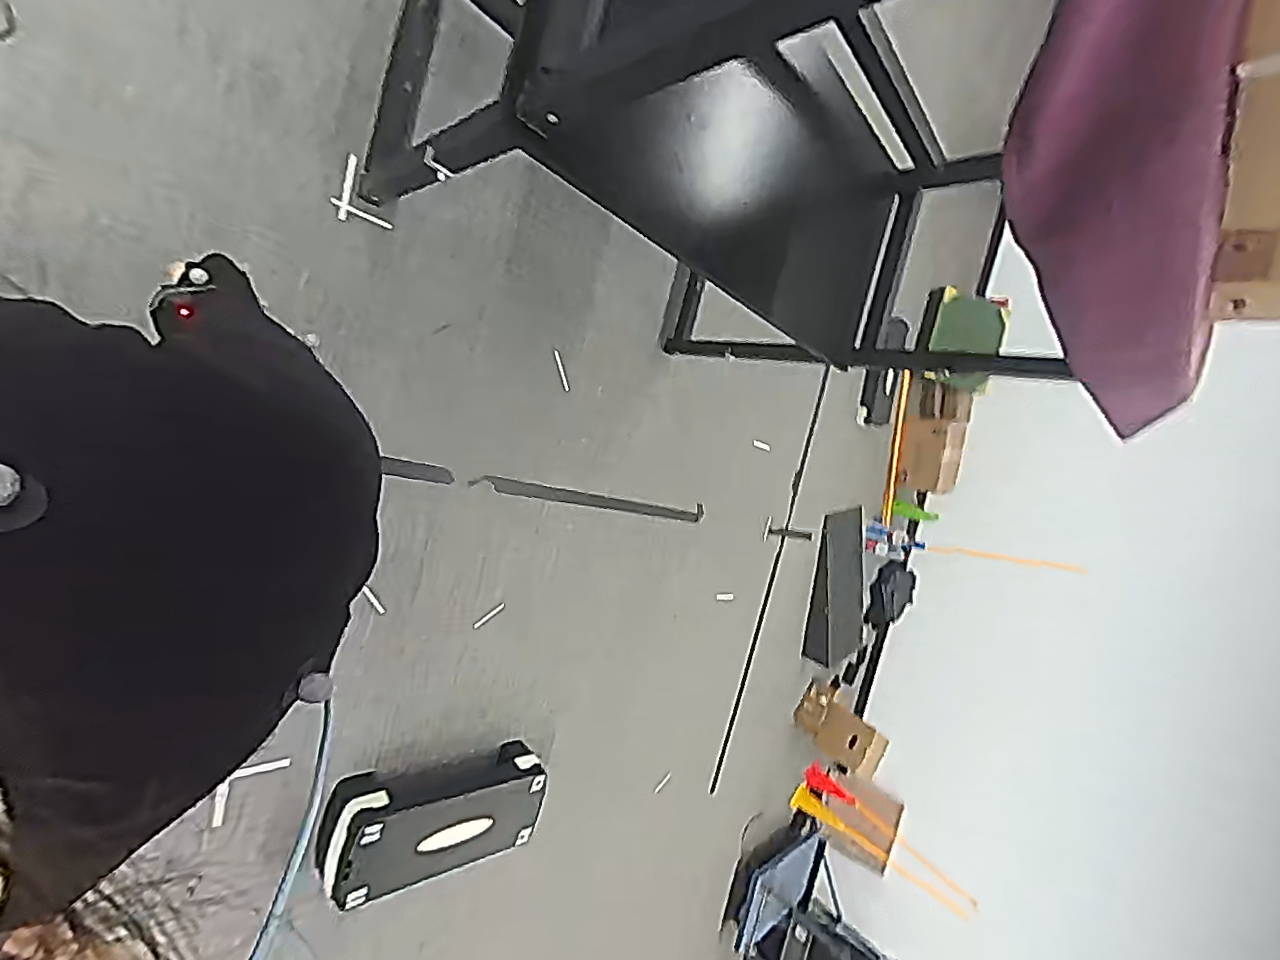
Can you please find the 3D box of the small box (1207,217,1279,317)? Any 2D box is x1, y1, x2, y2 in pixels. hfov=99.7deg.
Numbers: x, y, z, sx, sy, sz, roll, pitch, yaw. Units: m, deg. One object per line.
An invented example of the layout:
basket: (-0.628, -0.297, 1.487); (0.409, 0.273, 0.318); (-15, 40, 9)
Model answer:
small box: (1.083, -0.380, 0.898); (0.179, 0.176, 0.168); (15, 91, -46)

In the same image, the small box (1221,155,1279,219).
small box: (0.838, -0.435, 0.647); (0.179, 0.176, 0.168); (12, 93, -45)
